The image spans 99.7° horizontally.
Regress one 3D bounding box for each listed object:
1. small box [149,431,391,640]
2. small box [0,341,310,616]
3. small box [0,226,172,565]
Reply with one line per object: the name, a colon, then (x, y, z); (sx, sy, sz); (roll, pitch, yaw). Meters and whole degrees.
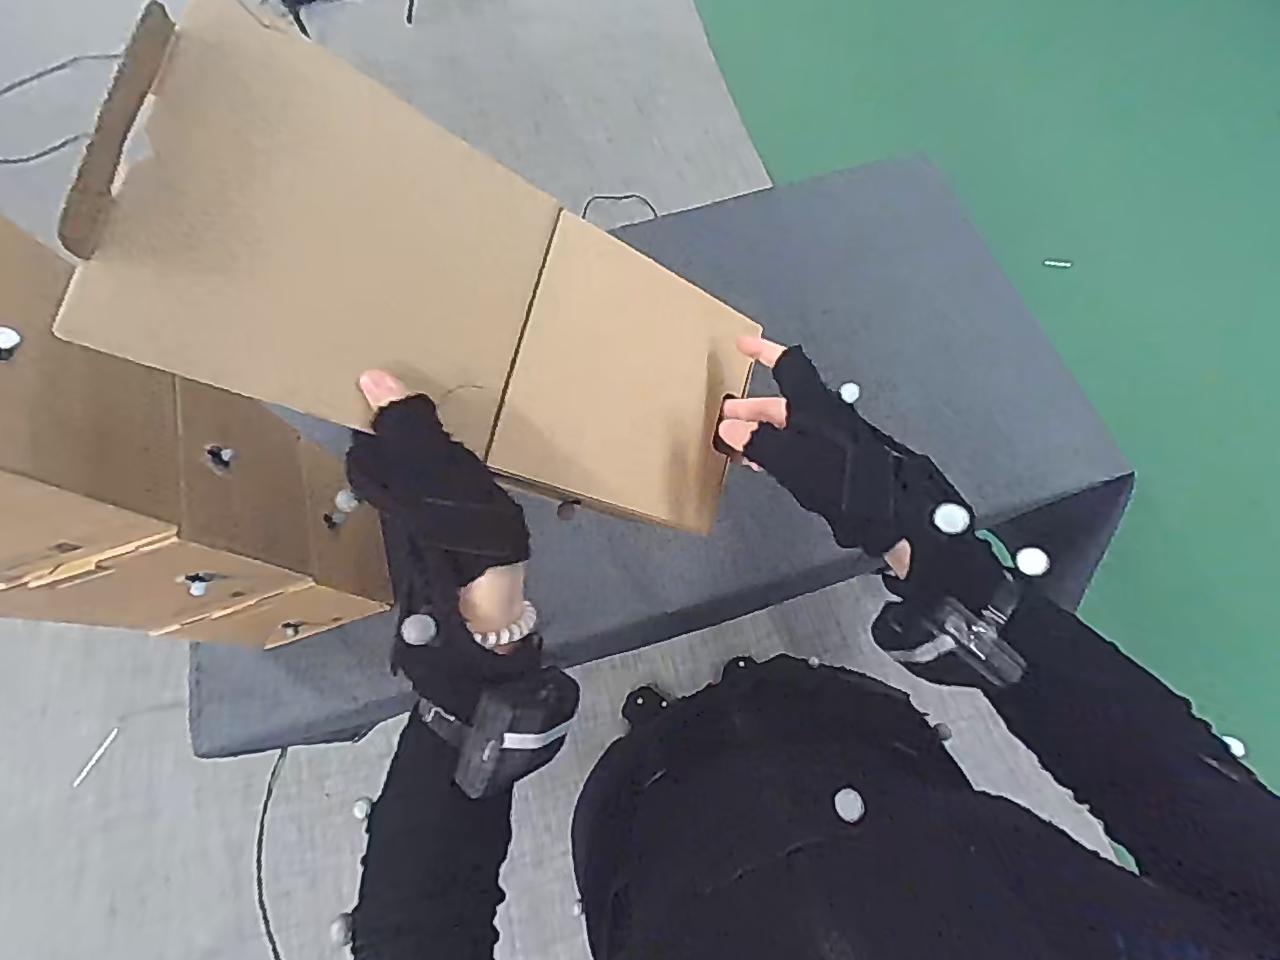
small box: (-0.417, 0.073, 0.631); (0.168, 0.176, 0.179); (-18, 70, -4)
small box: (-0.423, 0.013, 0.480); (0.168, 0.176, 0.179); (-17, 70, -4)
small box: (-0.432, -0.050, 0.329); (0.168, 0.176, 0.179); (-18, 70, -5)
